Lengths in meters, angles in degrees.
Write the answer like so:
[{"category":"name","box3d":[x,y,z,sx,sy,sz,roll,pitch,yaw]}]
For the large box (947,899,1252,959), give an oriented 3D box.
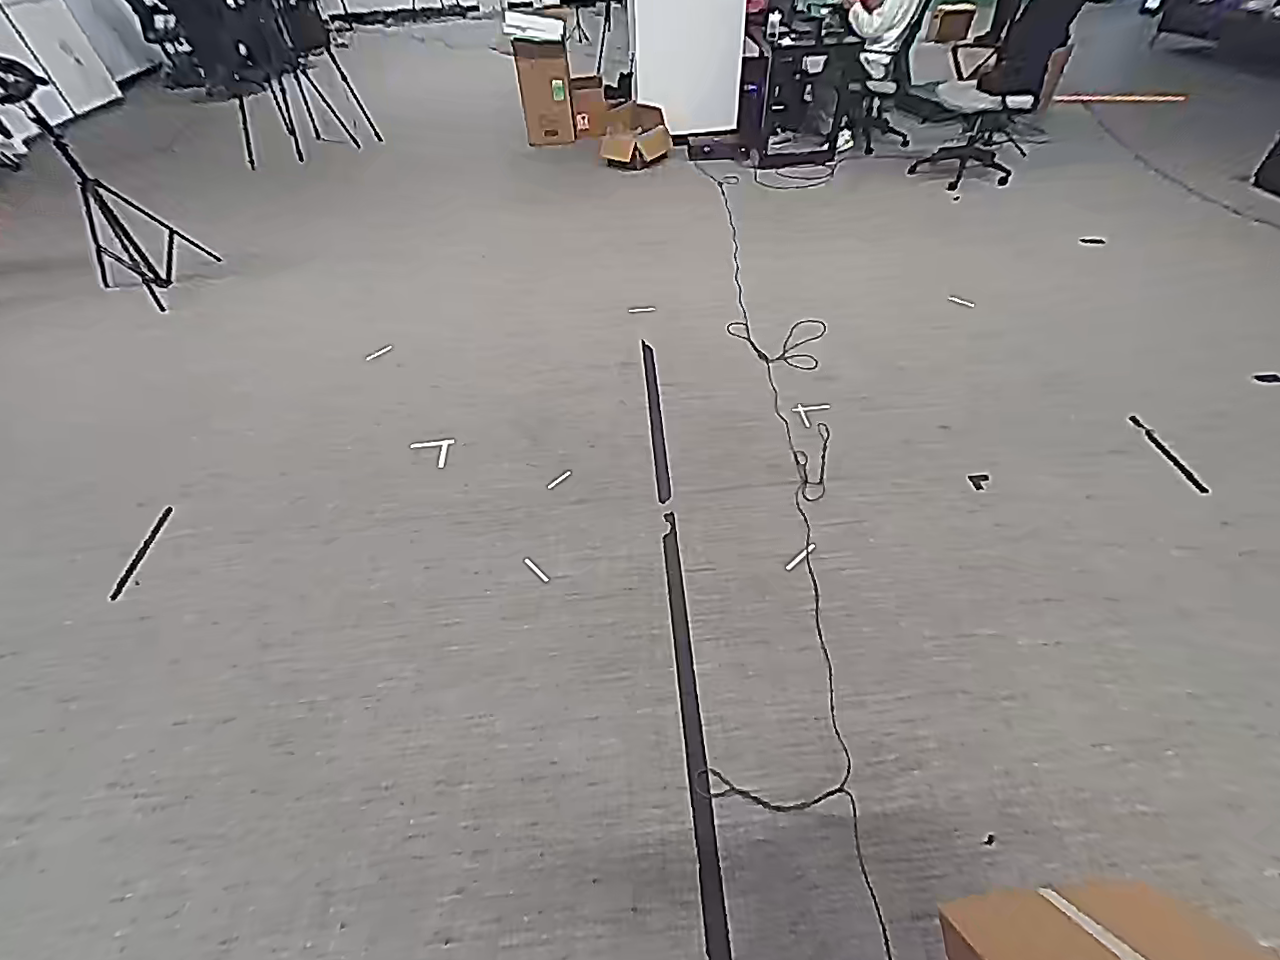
[{"category":"large box","box3d":[0.602,0.725,0.558,0.320,0.408,0.320,-7,78,0]}]
